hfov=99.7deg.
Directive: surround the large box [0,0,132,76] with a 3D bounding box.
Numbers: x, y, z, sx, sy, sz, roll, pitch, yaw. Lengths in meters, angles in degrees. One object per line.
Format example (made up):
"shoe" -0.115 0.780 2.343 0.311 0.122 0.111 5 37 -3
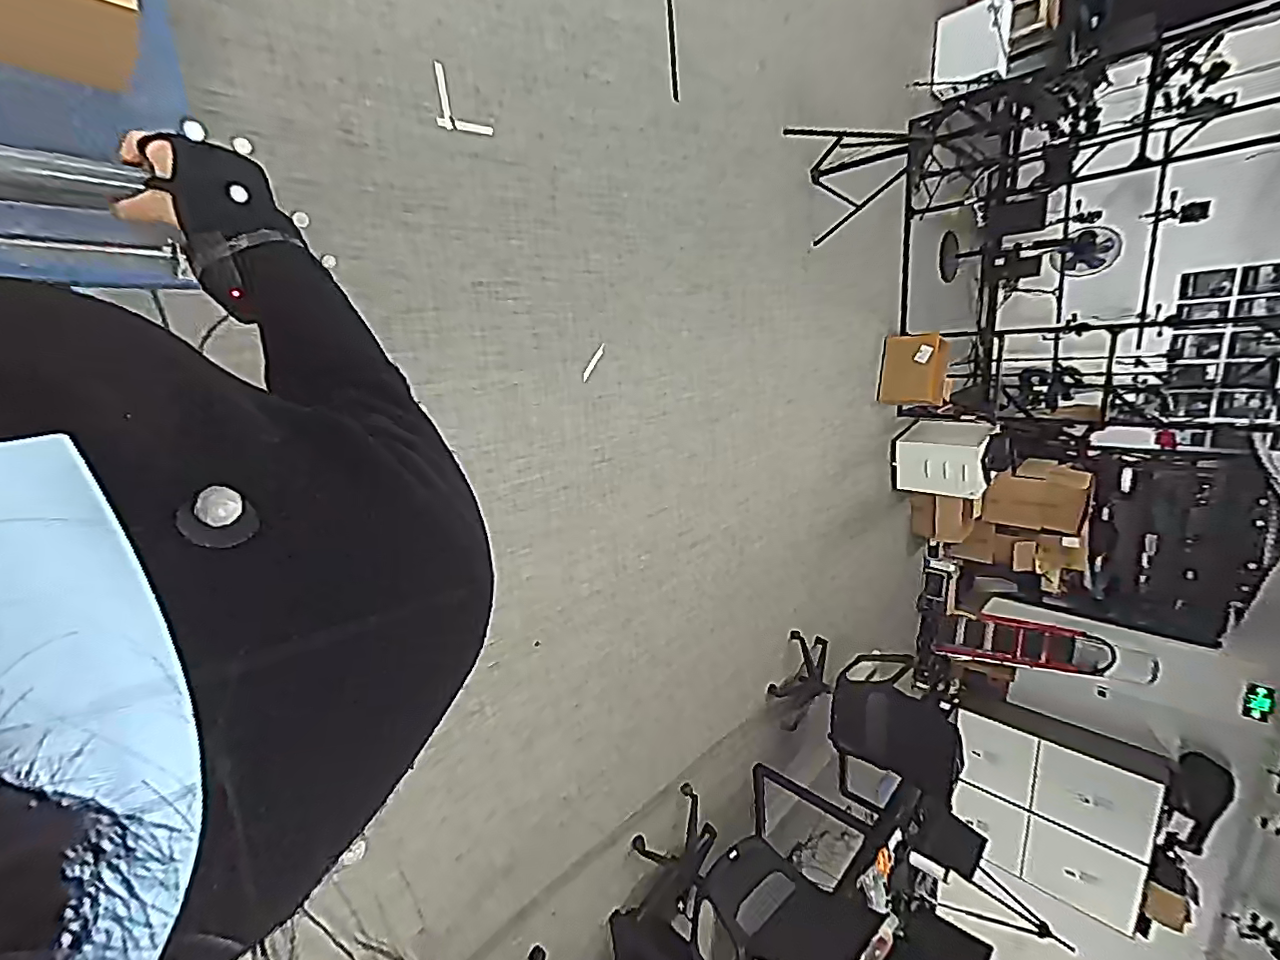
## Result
"large box" -0.930 -0.780 0.661 0.408 0.320 0.320 -13 106 -43
